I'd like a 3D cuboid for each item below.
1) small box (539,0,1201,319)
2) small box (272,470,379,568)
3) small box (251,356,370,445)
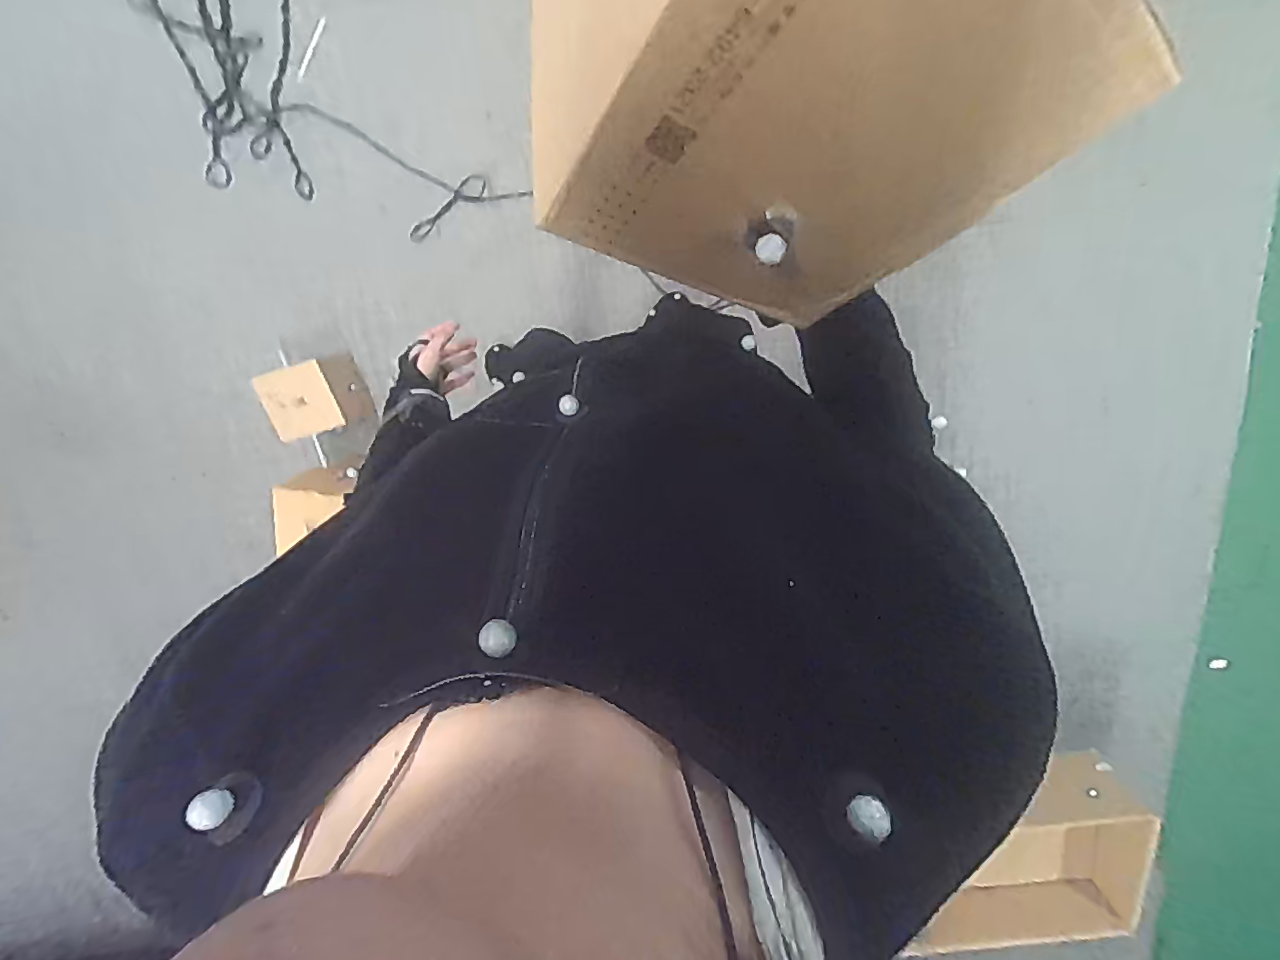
[{"bbox_3d":[0.066,-0.203,0.222,0.176,0.168,0.179,9,67,-33],"label":"small box"},{"bbox_3d":[-0.747,0.089,1.304,0.168,0.176,0.179,7,107,-2],"label":"small box"},{"bbox_3d":[-0.820,-0.208,1.373,0.179,0.176,0.168,-16,108,5],"label":"small box"}]
